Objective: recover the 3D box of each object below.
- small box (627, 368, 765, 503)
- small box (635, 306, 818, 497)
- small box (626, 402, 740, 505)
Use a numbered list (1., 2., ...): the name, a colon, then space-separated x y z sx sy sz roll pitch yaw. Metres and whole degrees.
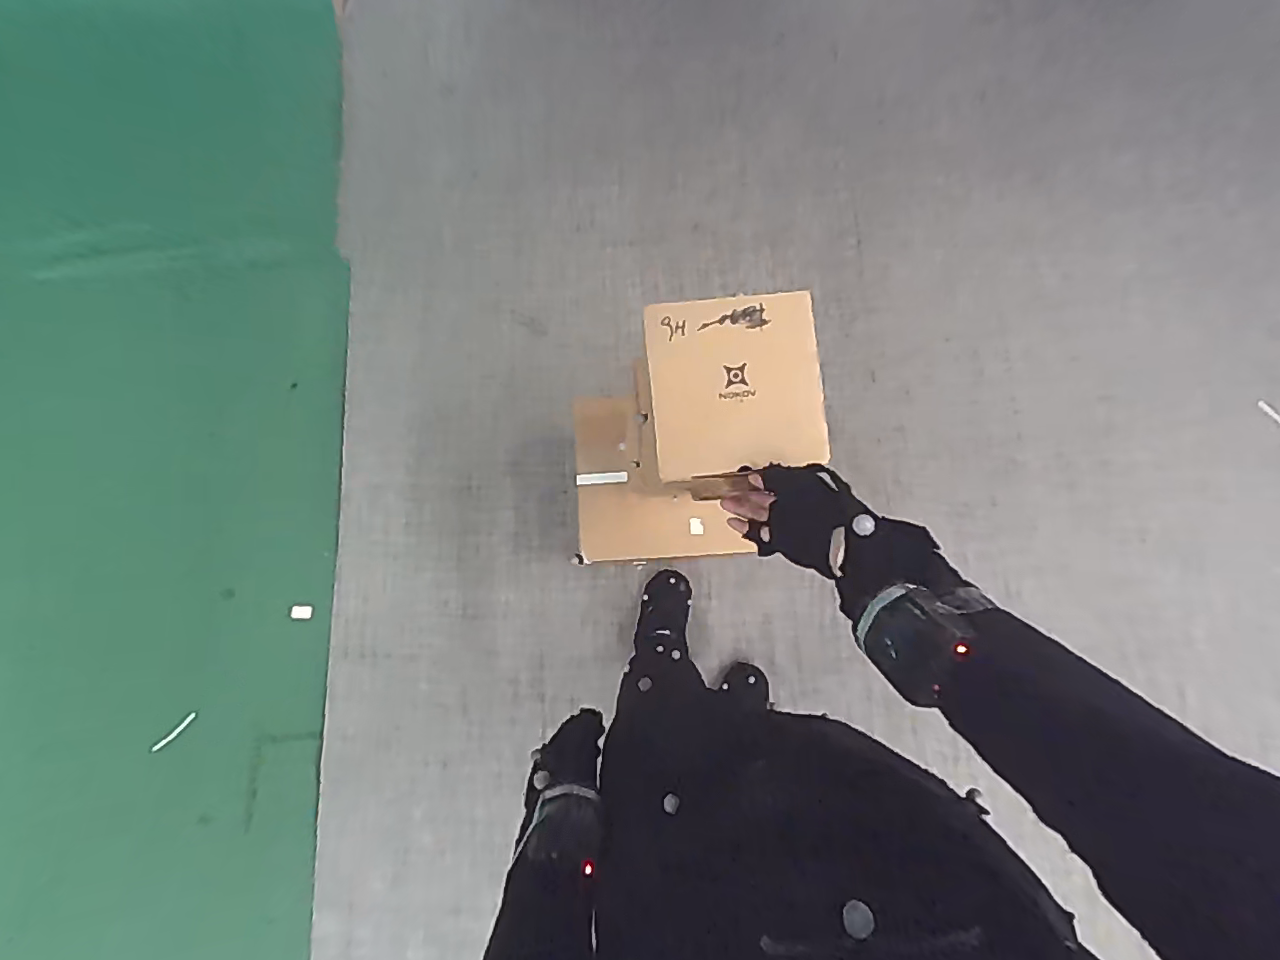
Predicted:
1. small box: 0.073 -0.060 0.769 0.168 0.176 0.179 -6 85 -1
2. small box: 0.085 -0.074 0.606 0.168 0.176 0.179 -6 86 0
3. small box: 0.067 -0.045 0.930 0.179 0.176 0.168 -4 86 0
